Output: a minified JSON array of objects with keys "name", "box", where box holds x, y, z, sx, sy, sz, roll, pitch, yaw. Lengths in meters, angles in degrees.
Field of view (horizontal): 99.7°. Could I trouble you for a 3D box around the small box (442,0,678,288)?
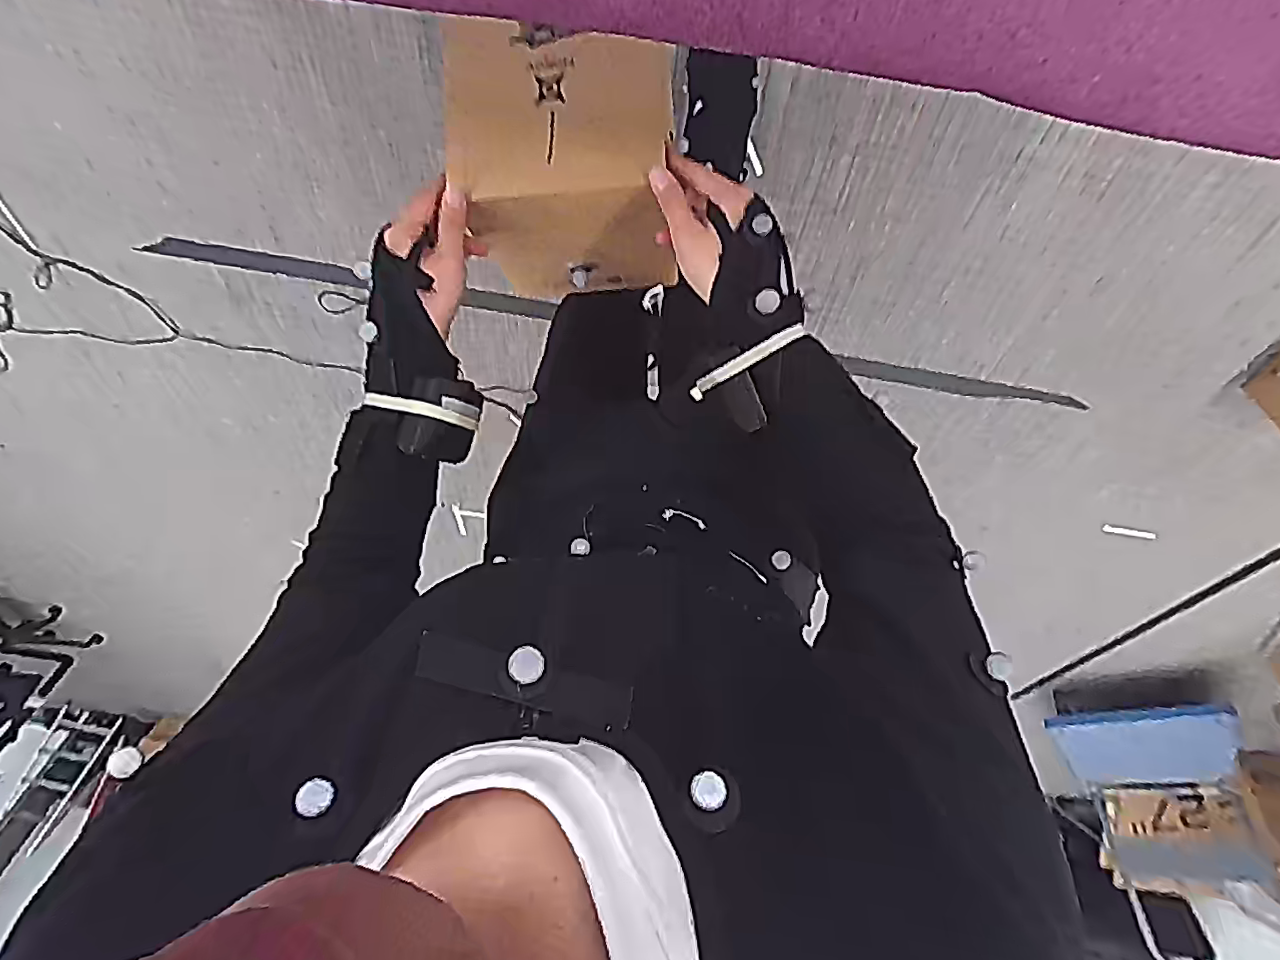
[{"name":"small box","box":[-0.054,-0.288,0.468,0.168,0.179,0.176,-2,176,7]}]
